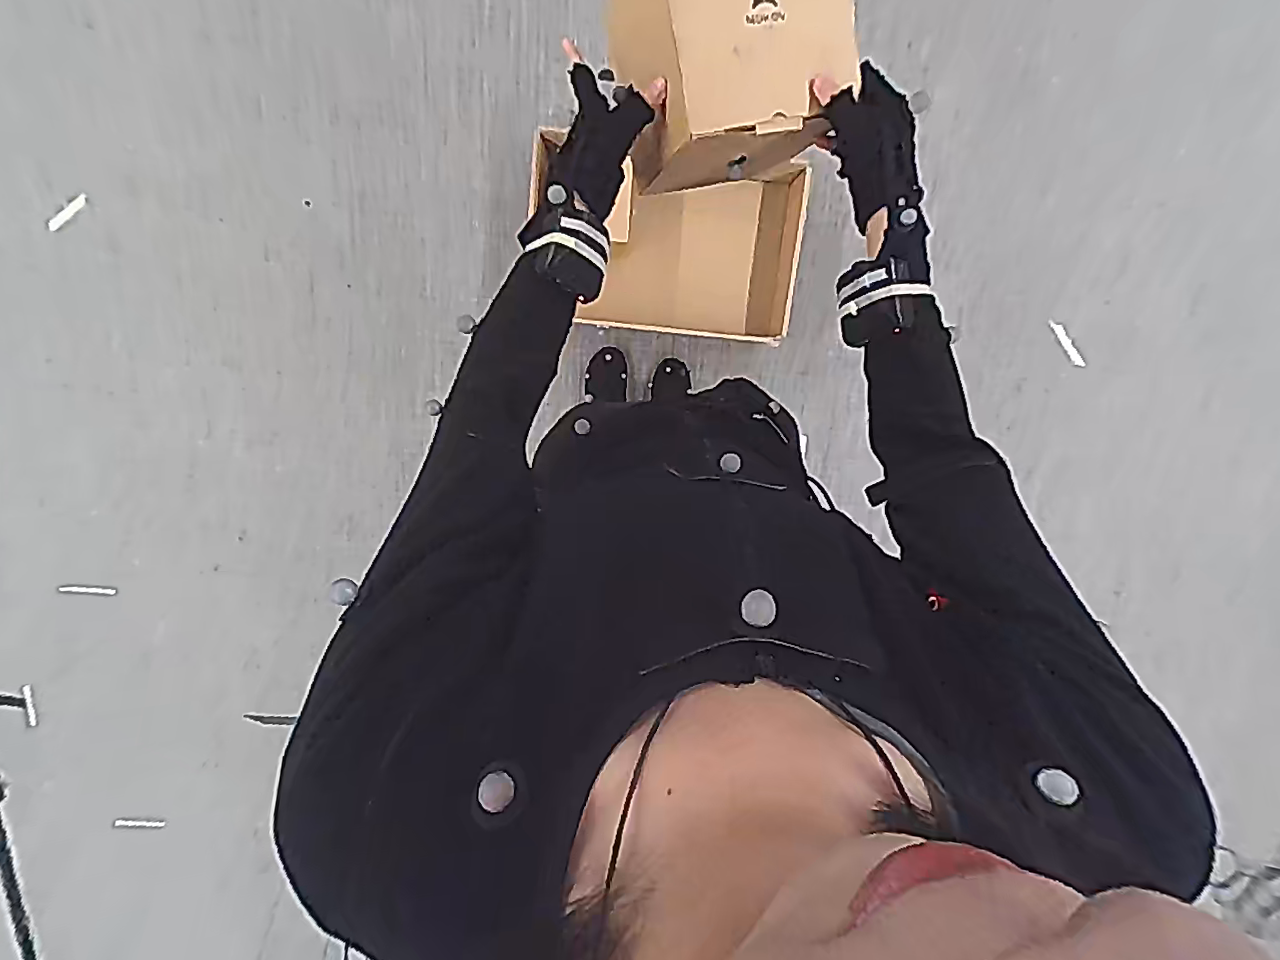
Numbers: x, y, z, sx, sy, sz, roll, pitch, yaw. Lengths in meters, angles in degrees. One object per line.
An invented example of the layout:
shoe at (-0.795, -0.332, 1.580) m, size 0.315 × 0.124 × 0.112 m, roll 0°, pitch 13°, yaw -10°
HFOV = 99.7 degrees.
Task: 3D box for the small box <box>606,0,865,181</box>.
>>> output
small box at (0.078, -0.398, 0.501) m, size 0.168 × 0.176 × 0.179 m, roll -17°, pitch 106°, yaw -12°
